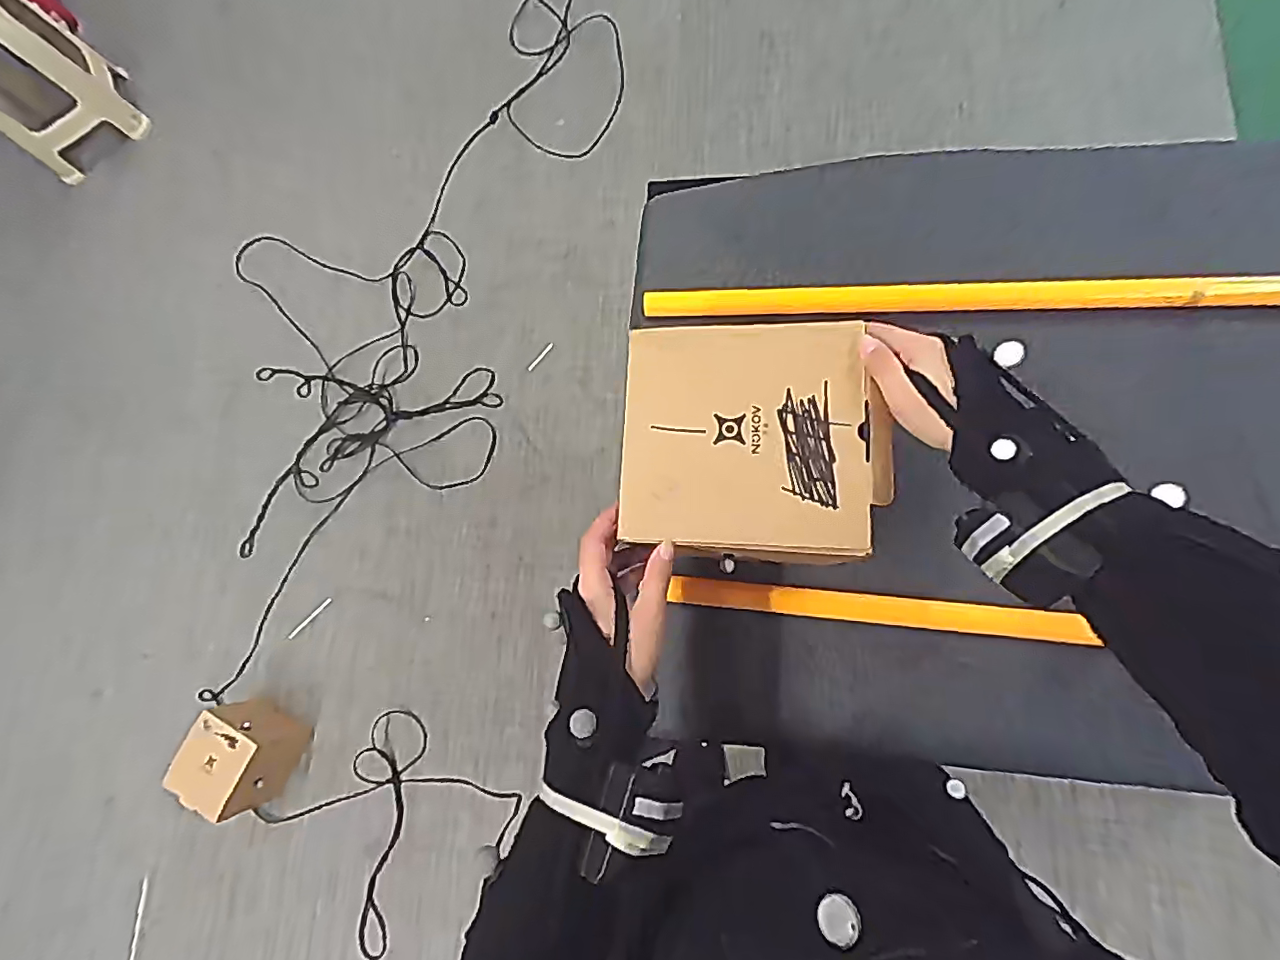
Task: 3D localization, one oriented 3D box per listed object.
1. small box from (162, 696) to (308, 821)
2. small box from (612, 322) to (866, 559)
[{"bbox_3d":[-0.909,0.621,1.232,0.168,0.176,0.179,24,82,13],"label":"small box"},{"bbox_3d":[0.083,-0.022,0.466,0.179,0.176,0.168,2,79,11],"label":"small box"}]
